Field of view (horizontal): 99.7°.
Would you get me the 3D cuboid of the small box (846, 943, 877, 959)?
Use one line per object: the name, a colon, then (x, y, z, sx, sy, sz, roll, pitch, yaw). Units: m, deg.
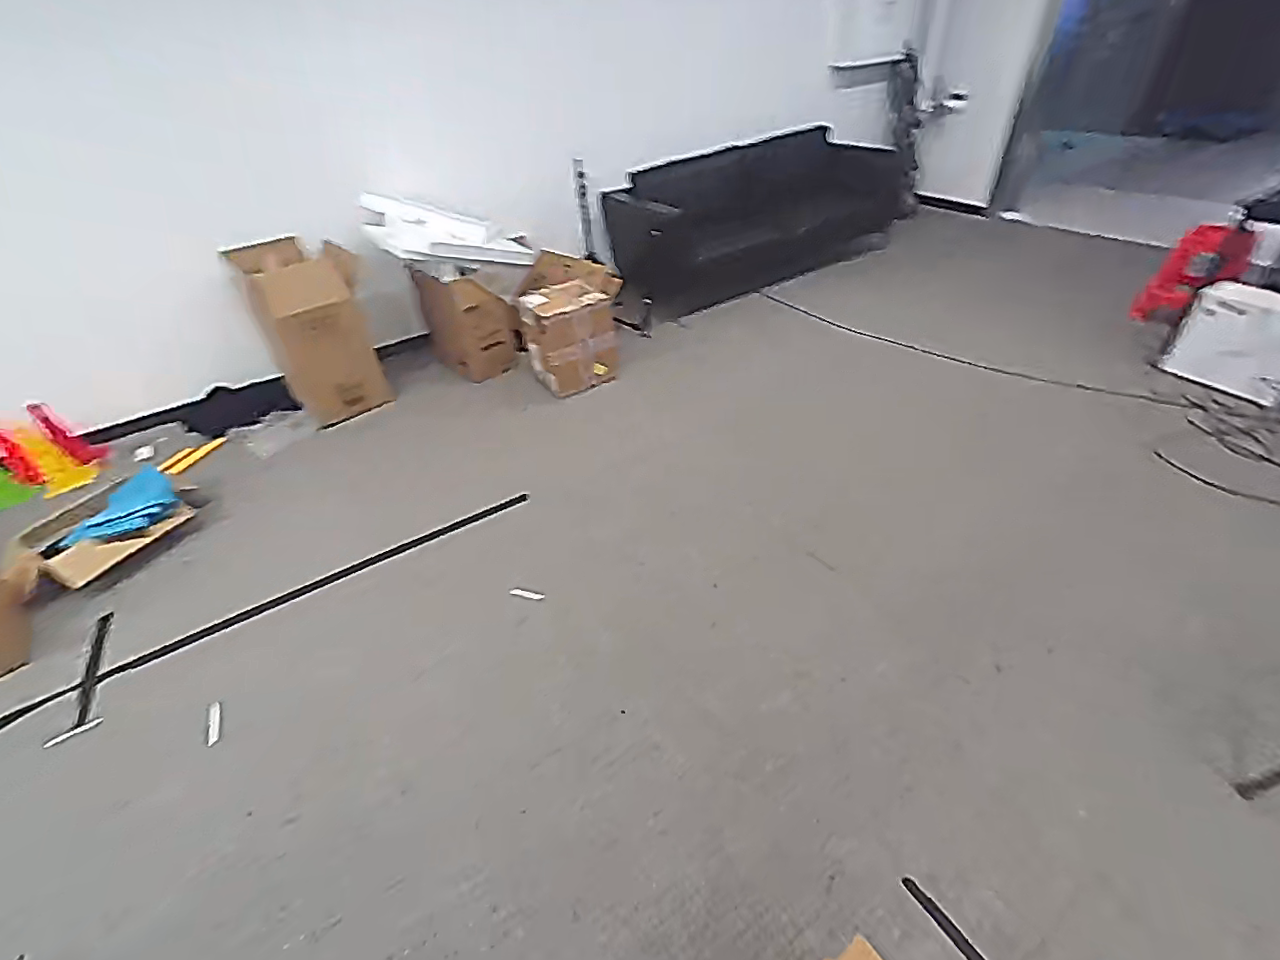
small box: (0.361, 0.921, 0.881, 0.179, 0.176, 0.168, -26, 44, -25)
